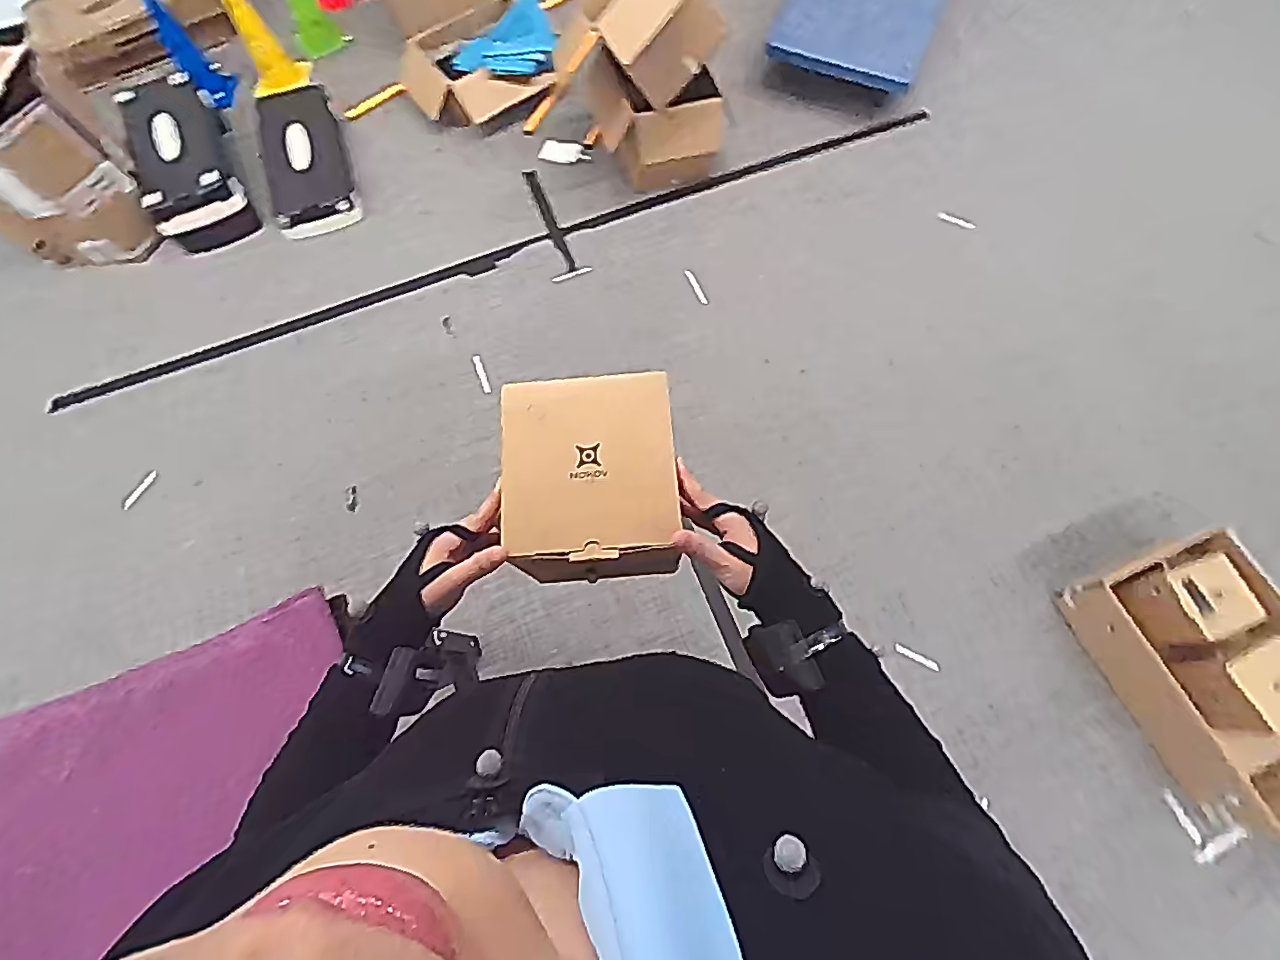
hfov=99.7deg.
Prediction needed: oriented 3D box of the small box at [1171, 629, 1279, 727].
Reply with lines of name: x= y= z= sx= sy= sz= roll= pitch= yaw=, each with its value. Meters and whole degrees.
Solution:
small box: x=1.479 y=0.485 z=1.327 sx=0.179 sy=0.176 sz=0.168 roll=-24 pitch=72 yaw=-7
